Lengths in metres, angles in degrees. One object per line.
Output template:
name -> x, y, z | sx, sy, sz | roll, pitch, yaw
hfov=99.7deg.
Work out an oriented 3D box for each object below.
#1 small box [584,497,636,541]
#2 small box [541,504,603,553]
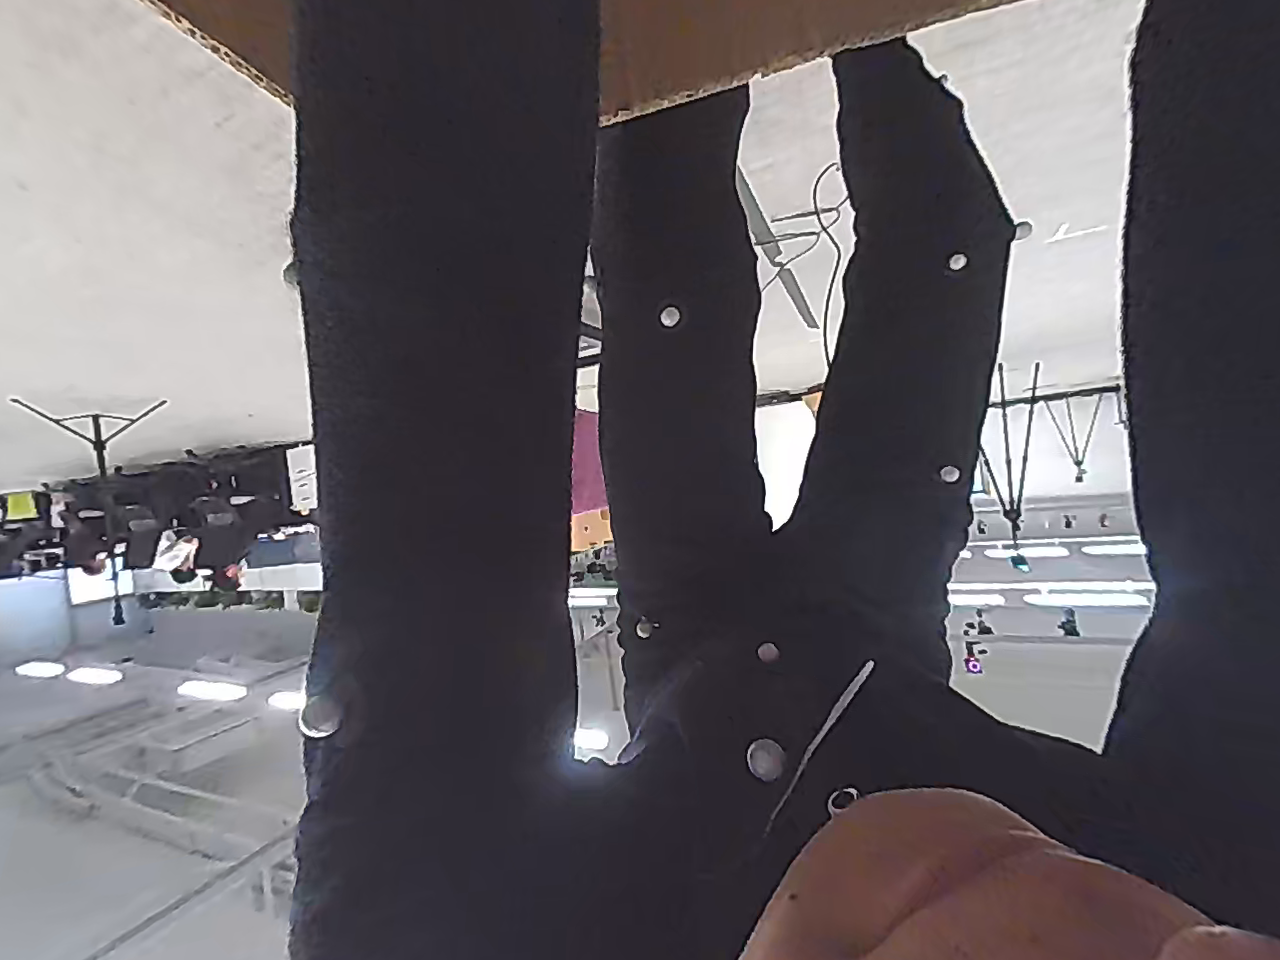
small box -> -0.139, 0.167, 2.349 | 0.179, 0.176, 0.168 | -6, -179, 34
small box -> -0.268, 0.184, 2.112 | 0.179, 0.176, 0.168 | -6, -179, 27
